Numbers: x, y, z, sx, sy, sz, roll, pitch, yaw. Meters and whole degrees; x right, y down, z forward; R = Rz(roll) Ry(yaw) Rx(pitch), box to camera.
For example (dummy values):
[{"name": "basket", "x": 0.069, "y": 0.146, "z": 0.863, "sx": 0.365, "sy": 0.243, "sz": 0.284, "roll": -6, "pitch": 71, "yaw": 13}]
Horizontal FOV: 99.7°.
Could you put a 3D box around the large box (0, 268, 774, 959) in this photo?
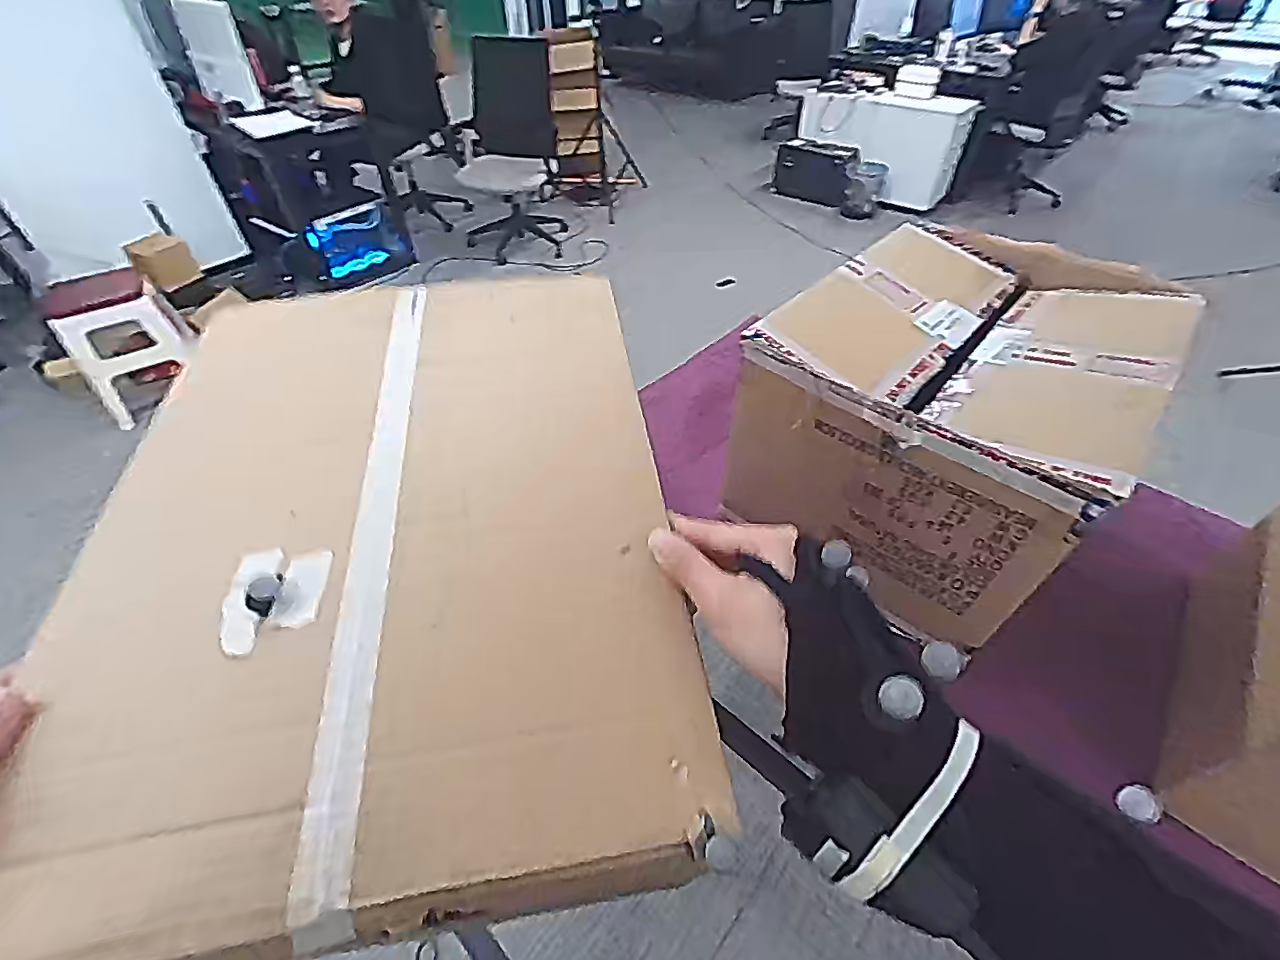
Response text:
[{"name": "large box", "x": -0.134, "y": 0.086, "z": 0.431, "sx": 0.320, "sy": 0.320, "sz": 0.408, "roll": -8, "pitch": 53, "yaw": -6}]
